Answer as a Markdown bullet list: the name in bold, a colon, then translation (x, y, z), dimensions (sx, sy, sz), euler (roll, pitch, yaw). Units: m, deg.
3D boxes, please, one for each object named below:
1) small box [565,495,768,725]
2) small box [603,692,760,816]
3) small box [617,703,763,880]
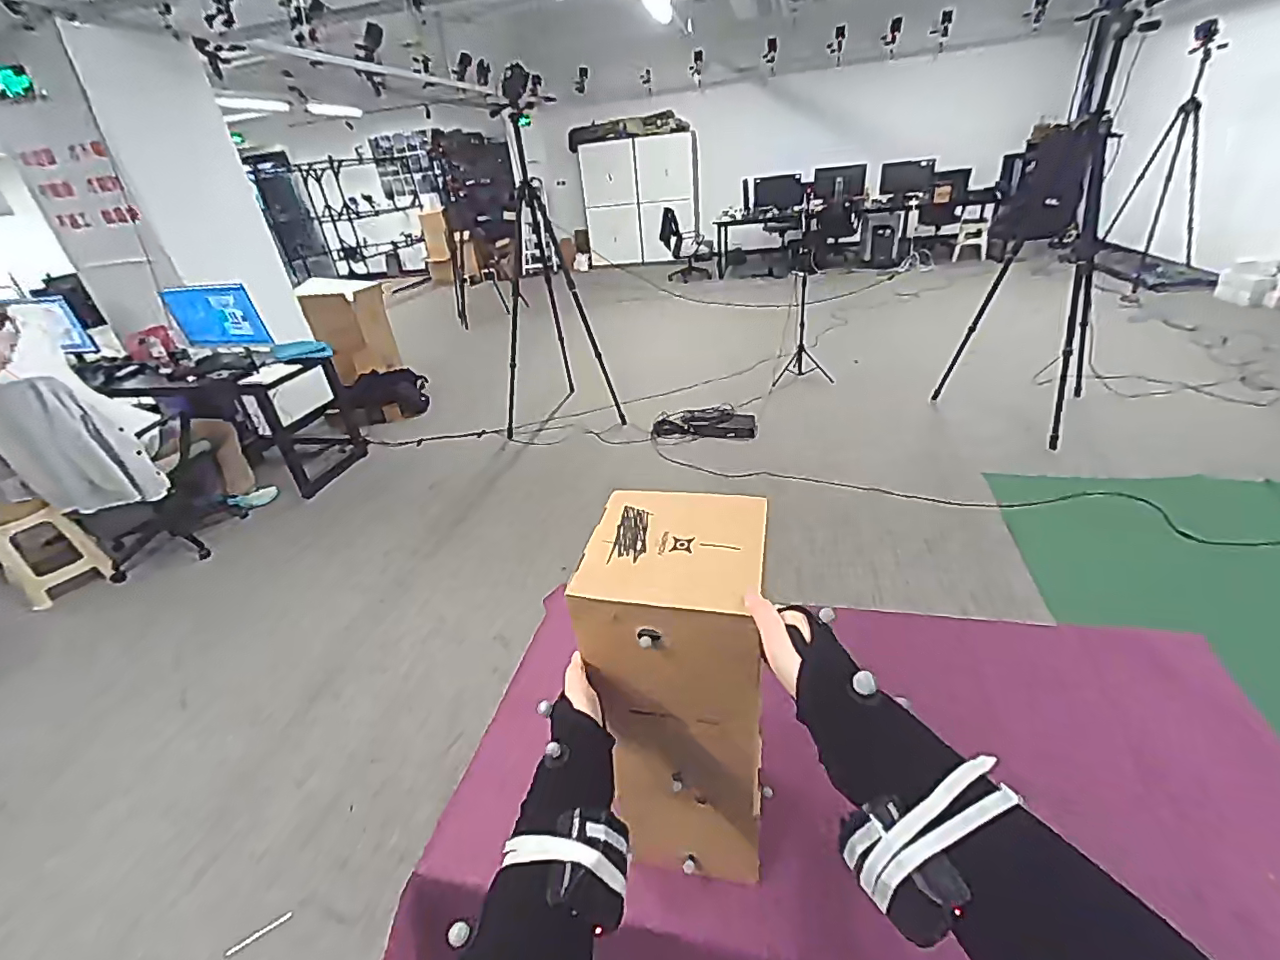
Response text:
- **small box**: translation (0.041, 0.133, 0.573), dimensions (0.179, 0.176, 0.168), euler (3, 36, 14)
- **small box**: translation (0.063, 0.275, 0.674), dimensions (0.168, 0.176, 0.179), euler (1, 31, 15)
- **small box**: translation (0.078, 0.419, 0.753), dimensions (0.179, 0.176, 0.168), euler (2, 31, 12)
